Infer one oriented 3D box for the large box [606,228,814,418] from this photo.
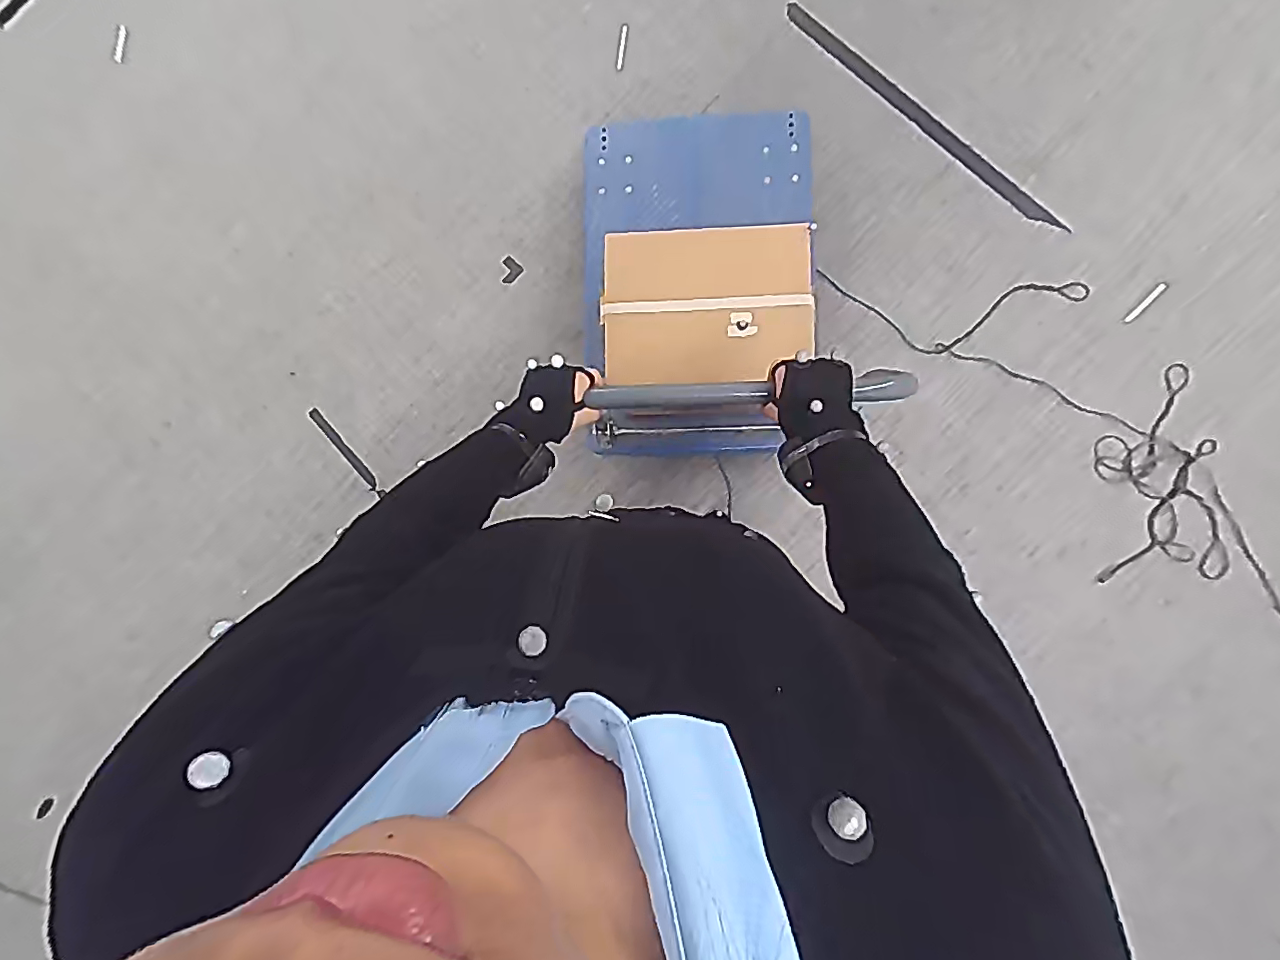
[{"bbox_3d":[0.141,-0.325,1.210,0.408,0.320,0.320,-1,86,4],"label":"large box"}]
